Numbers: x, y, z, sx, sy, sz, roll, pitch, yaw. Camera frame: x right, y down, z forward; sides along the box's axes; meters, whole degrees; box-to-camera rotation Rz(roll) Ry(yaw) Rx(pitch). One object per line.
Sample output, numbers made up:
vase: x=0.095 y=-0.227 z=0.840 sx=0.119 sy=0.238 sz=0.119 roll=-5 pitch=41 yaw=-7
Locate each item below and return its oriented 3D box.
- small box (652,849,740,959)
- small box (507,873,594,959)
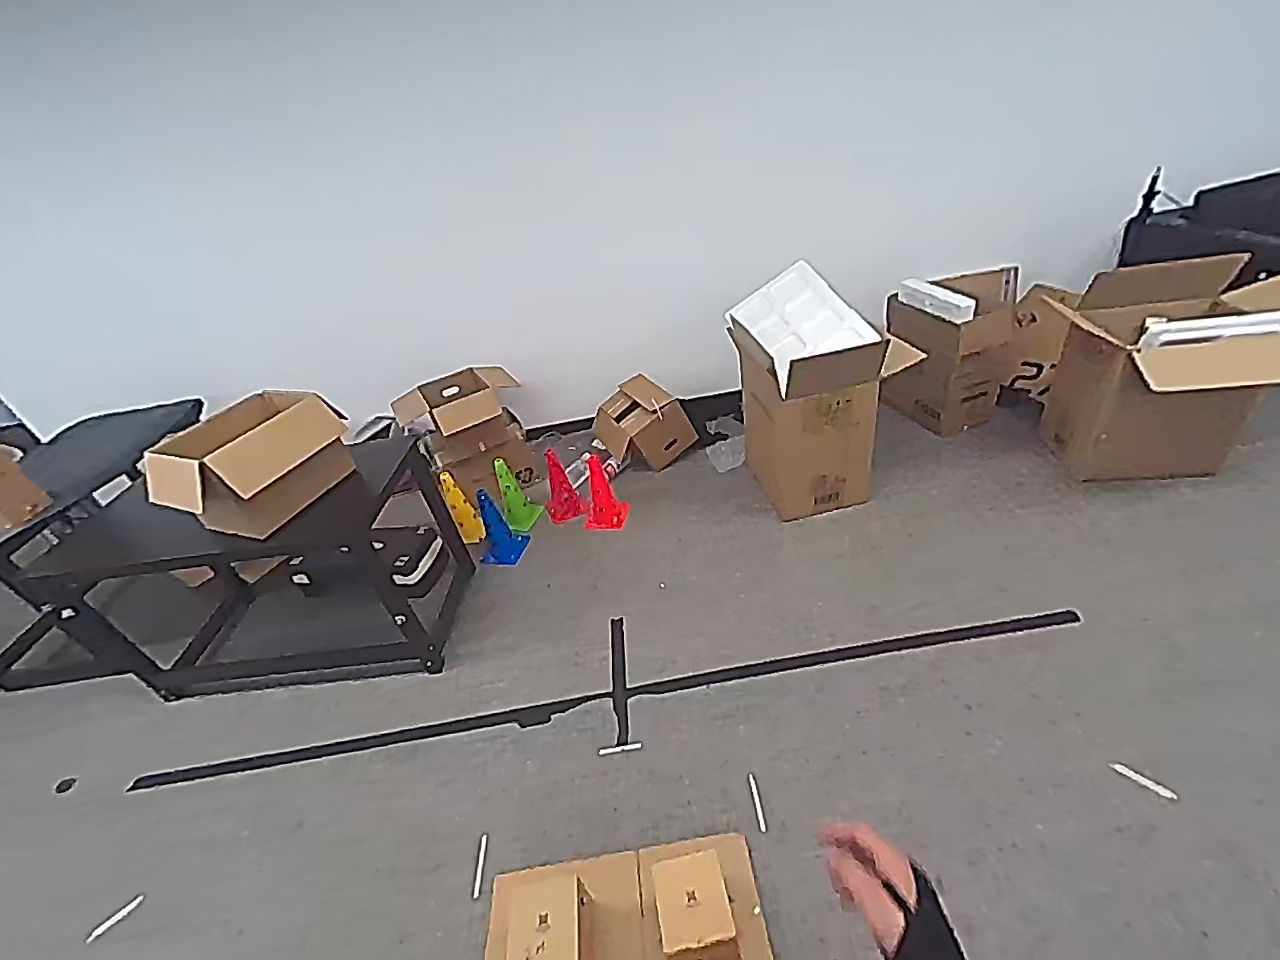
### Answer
small box: x=0.131 y=1.023 z=1.283 sx=0.168 sy=0.176 sz=0.179 roll=-13 pitch=35 yaw=-2
small box: x=-0.207 y=1.081 z=1.286 sx=0.168 sy=0.176 sz=0.179 roll=-12 pitch=35 yaw=1
